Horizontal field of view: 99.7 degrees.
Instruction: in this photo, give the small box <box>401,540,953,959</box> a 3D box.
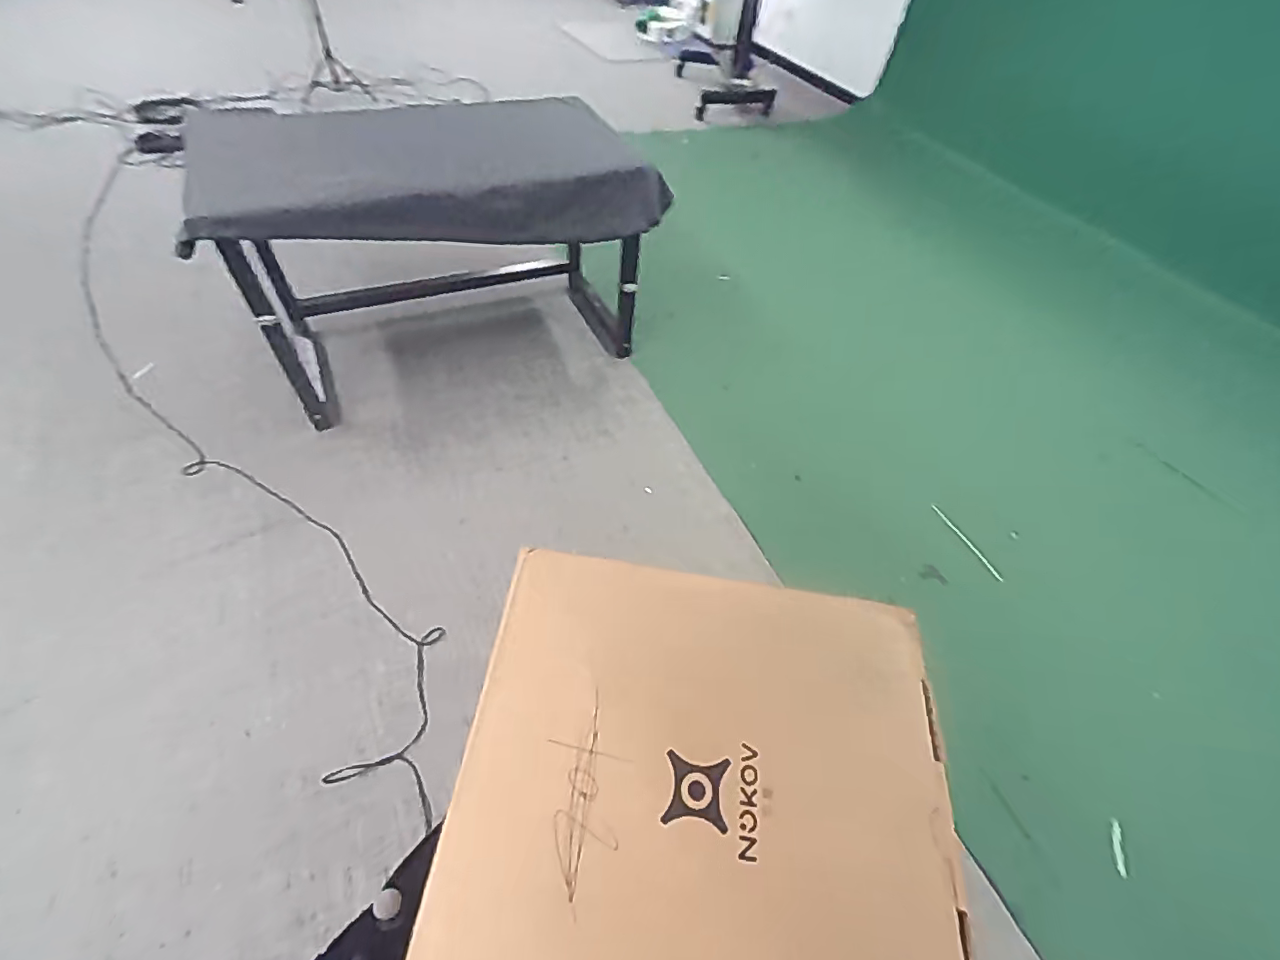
[{"bbox_3d":[0.015,0.149,0.266,0.179,0.176,0.168,7,55,1],"label":"small box"}]
